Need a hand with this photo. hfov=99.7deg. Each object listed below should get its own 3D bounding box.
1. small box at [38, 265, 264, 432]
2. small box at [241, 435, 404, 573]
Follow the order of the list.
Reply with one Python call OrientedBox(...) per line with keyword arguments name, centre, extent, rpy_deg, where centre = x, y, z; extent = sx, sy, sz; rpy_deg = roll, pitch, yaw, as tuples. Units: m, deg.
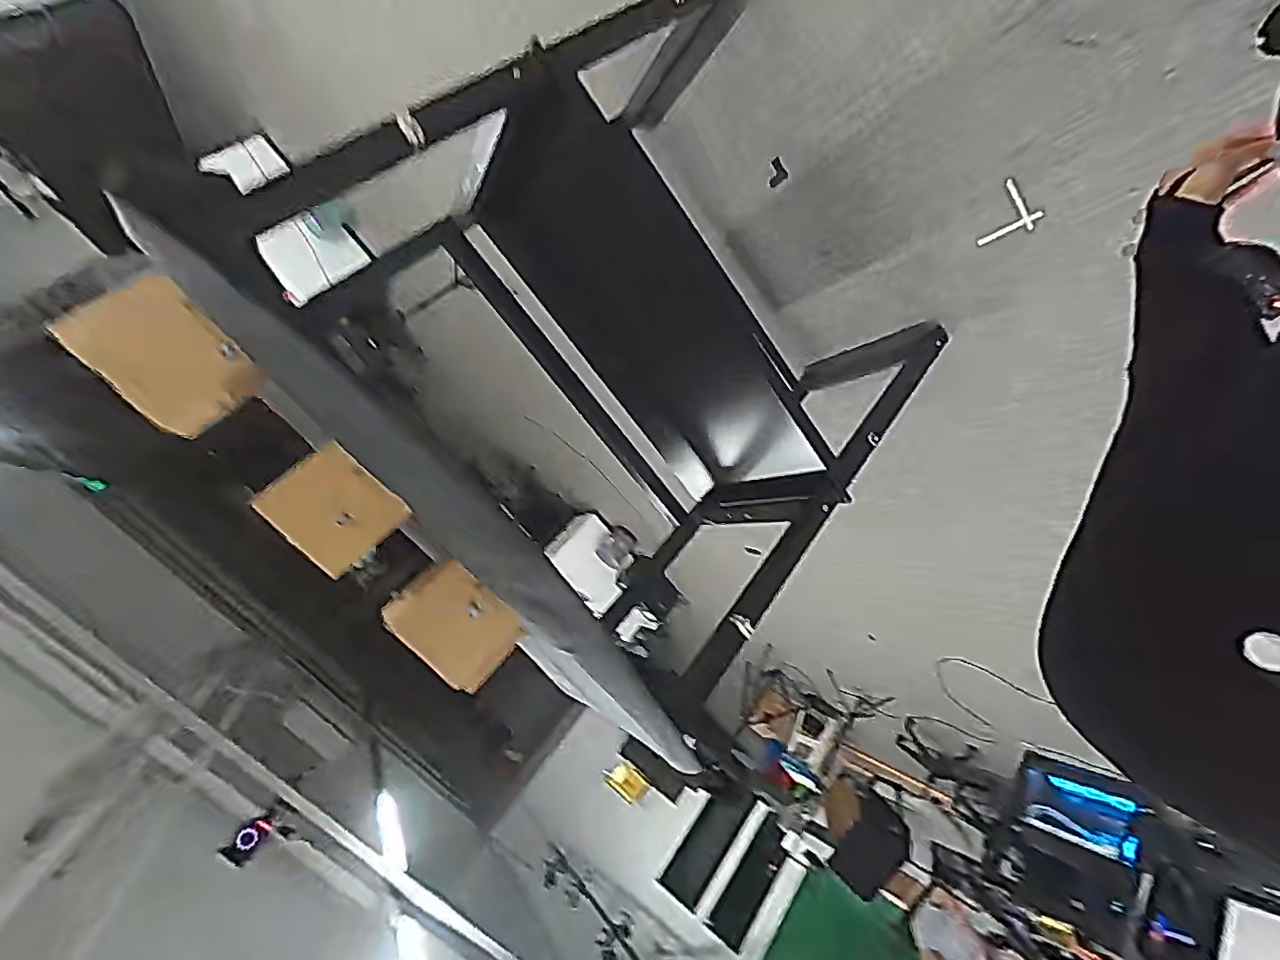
OrientedBox(name="small box", centre=(-0.718, -0.195, 0.825), extent=(0.168, 0.176, 0.179), rpy_deg=(51, 158, -18))
OrientedBox(name="small box", centre=(-0.535, 0.038, 0.935), extent=(0.168, 0.176, 0.179), rpy_deg=(50, 156, -16))
